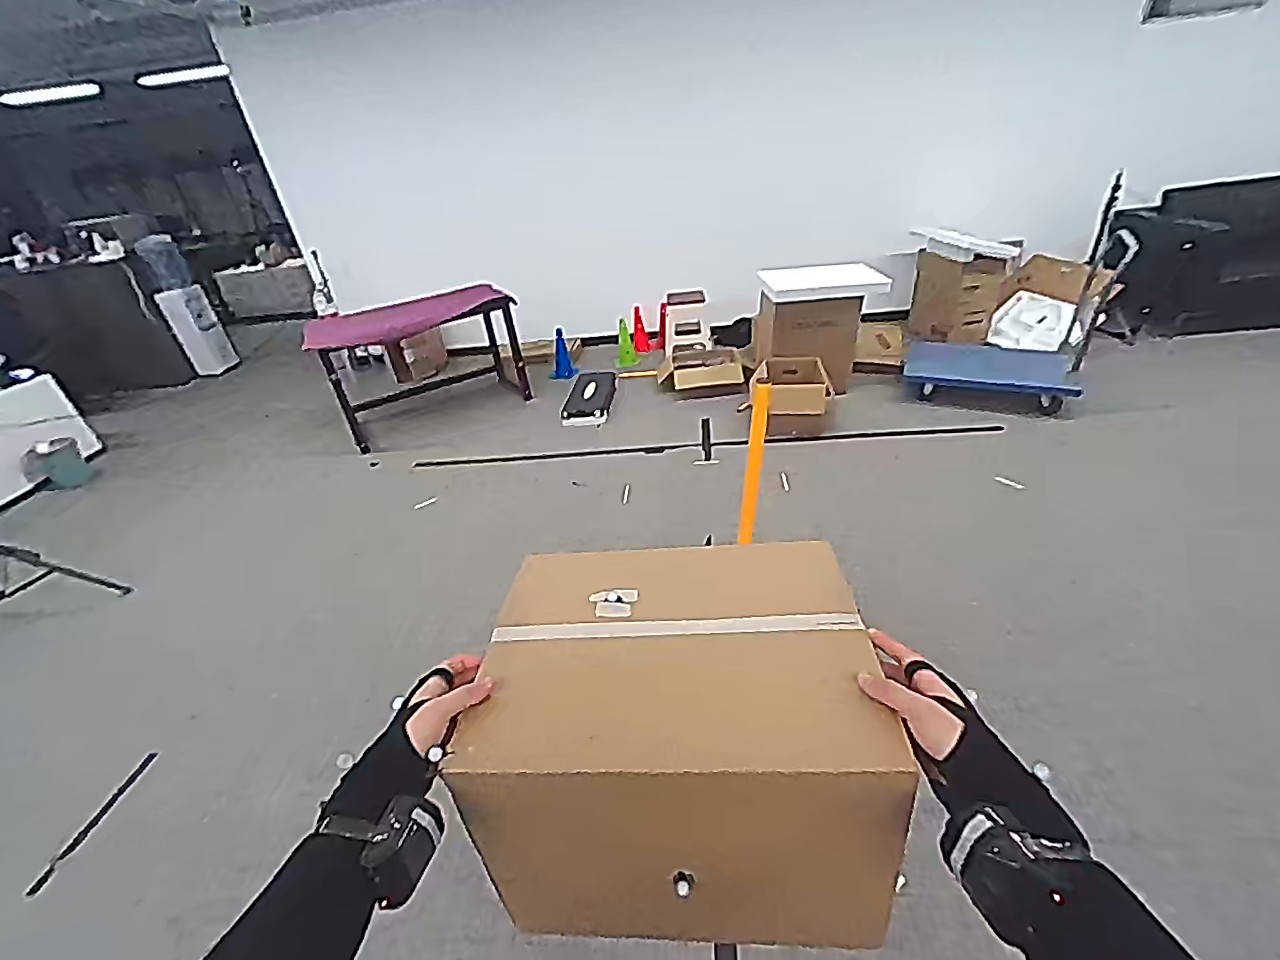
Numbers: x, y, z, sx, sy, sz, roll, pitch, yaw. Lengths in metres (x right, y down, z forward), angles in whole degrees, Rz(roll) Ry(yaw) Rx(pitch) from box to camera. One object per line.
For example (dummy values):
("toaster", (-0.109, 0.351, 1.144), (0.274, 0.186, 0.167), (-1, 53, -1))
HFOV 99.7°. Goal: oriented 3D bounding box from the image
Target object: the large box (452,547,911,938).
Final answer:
("large box", (0.055, 0.308, 0.662), (0.408, 0.320, 0.320), (-5, 28, 6))
